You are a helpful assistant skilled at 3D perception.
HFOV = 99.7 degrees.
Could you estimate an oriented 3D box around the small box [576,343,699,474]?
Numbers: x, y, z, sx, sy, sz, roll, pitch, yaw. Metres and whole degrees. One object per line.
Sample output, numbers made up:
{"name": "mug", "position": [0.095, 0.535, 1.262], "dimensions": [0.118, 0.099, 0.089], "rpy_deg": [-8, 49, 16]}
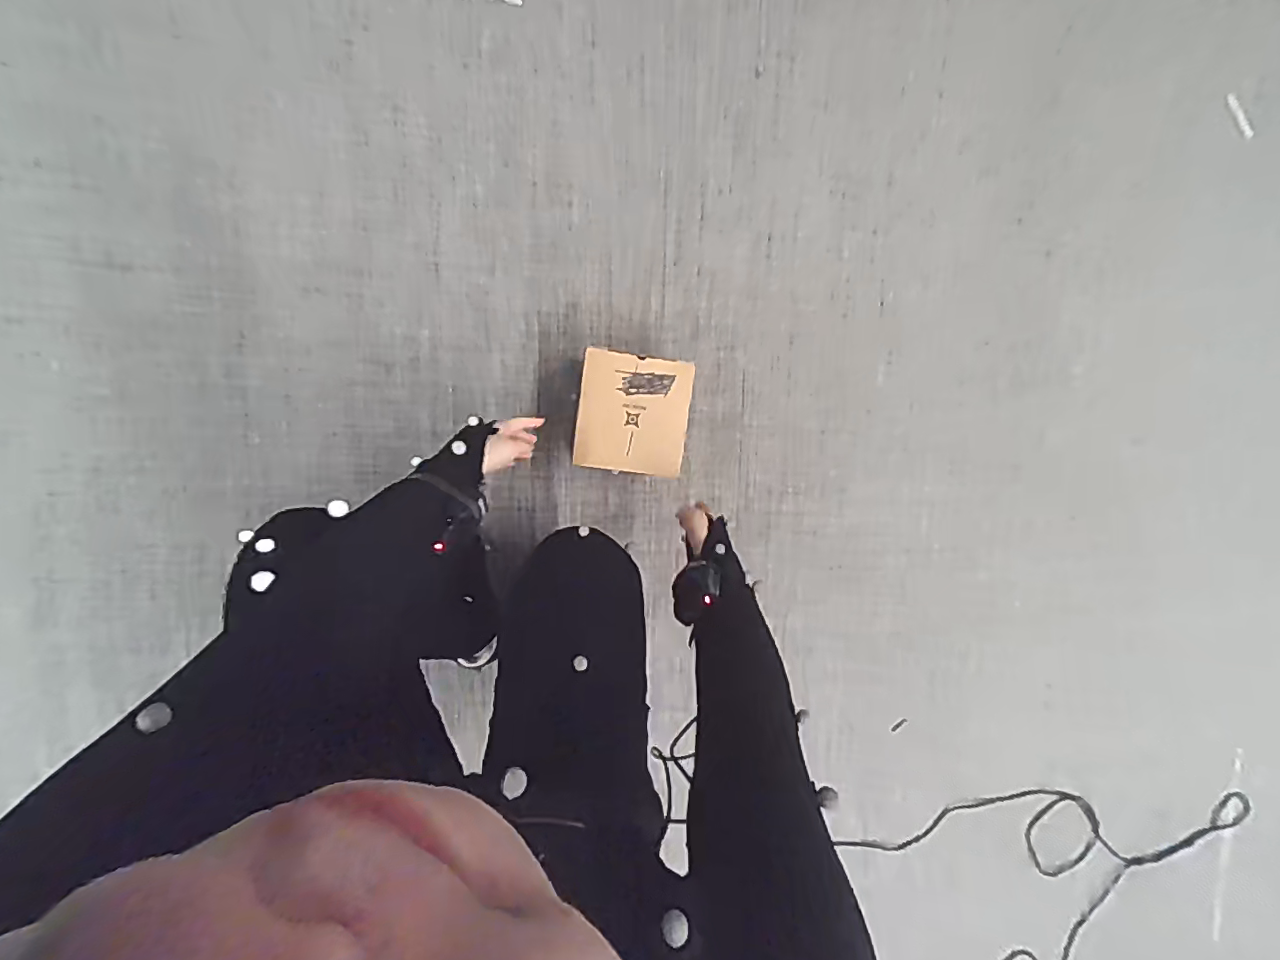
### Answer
{"name": "small box", "position": [-0.013, -0.115, 0.880], "dimensions": [0.168, 0.176, 0.179], "rpy_deg": [7, 97, -8]}
